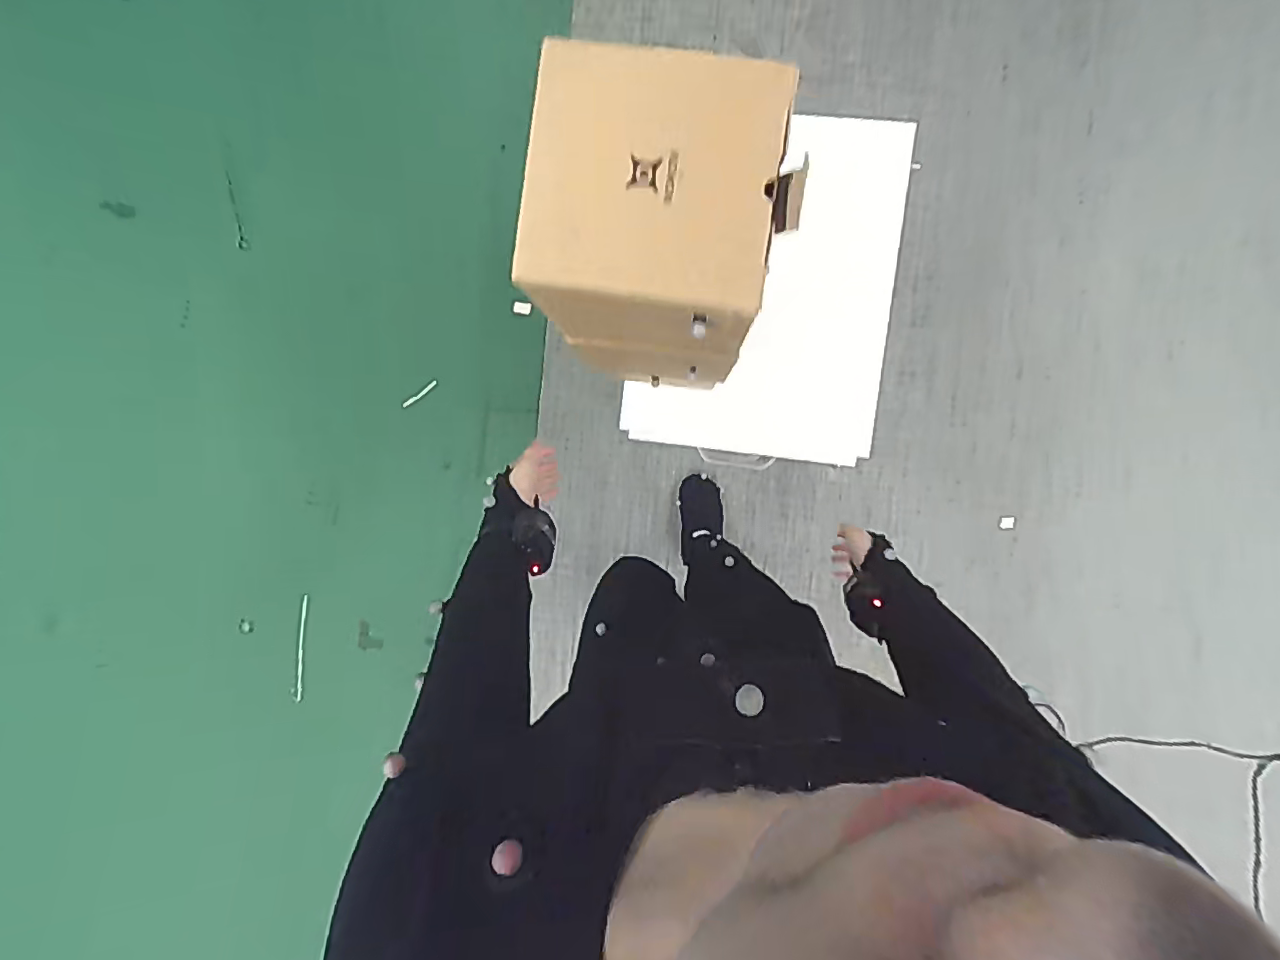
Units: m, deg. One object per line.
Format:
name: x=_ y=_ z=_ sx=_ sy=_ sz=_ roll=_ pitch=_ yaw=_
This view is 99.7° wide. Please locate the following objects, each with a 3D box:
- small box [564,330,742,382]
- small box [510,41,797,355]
small box: x=0.024 y=-0.209 z=0.608 sx=0.179 sy=0.176 sz=0.168 roll=6 pitch=92 yaw=4
small box: x=0.012 y=-0.208 z=0.445 sx=0.179 sy=0.176 sz=0.168 roll=9 pitch=92 yaw=3
